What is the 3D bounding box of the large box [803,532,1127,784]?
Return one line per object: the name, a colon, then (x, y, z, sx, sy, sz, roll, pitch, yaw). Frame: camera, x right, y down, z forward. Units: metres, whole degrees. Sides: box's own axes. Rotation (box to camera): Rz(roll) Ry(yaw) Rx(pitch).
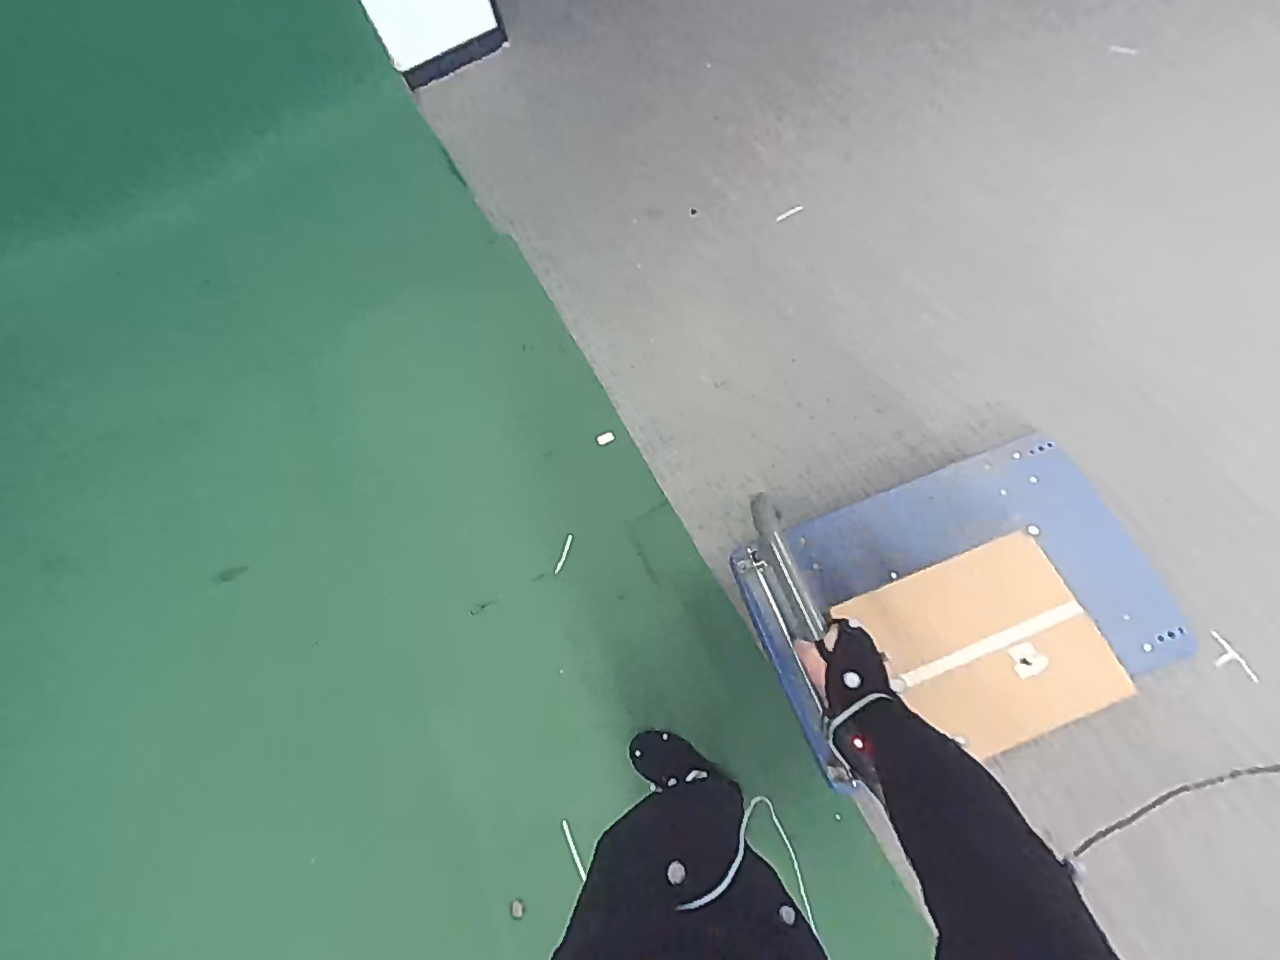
large box: (0.607, 0.354, 1.100, 0.408, 0.320, 0.320, -22, 70, -2)
